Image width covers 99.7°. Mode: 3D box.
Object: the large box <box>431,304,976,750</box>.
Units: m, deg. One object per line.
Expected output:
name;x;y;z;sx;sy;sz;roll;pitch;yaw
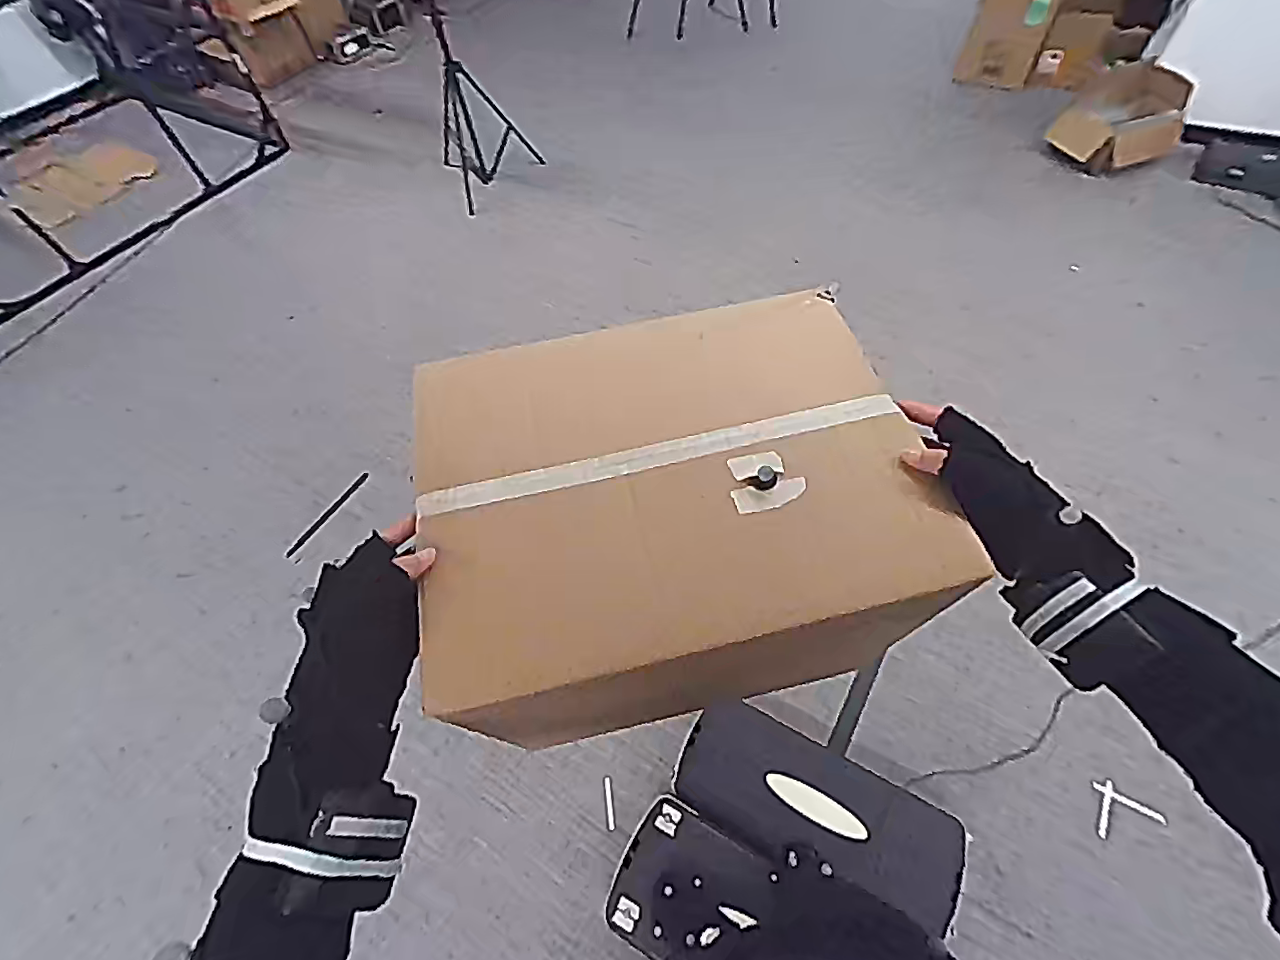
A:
large box;0.031;0.065;0.587;0.408;0.320;0.320;-12;60;-5

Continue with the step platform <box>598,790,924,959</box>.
step platform;0.249;0.993;1.189;0.684;0.204;0.286;22;62;20
